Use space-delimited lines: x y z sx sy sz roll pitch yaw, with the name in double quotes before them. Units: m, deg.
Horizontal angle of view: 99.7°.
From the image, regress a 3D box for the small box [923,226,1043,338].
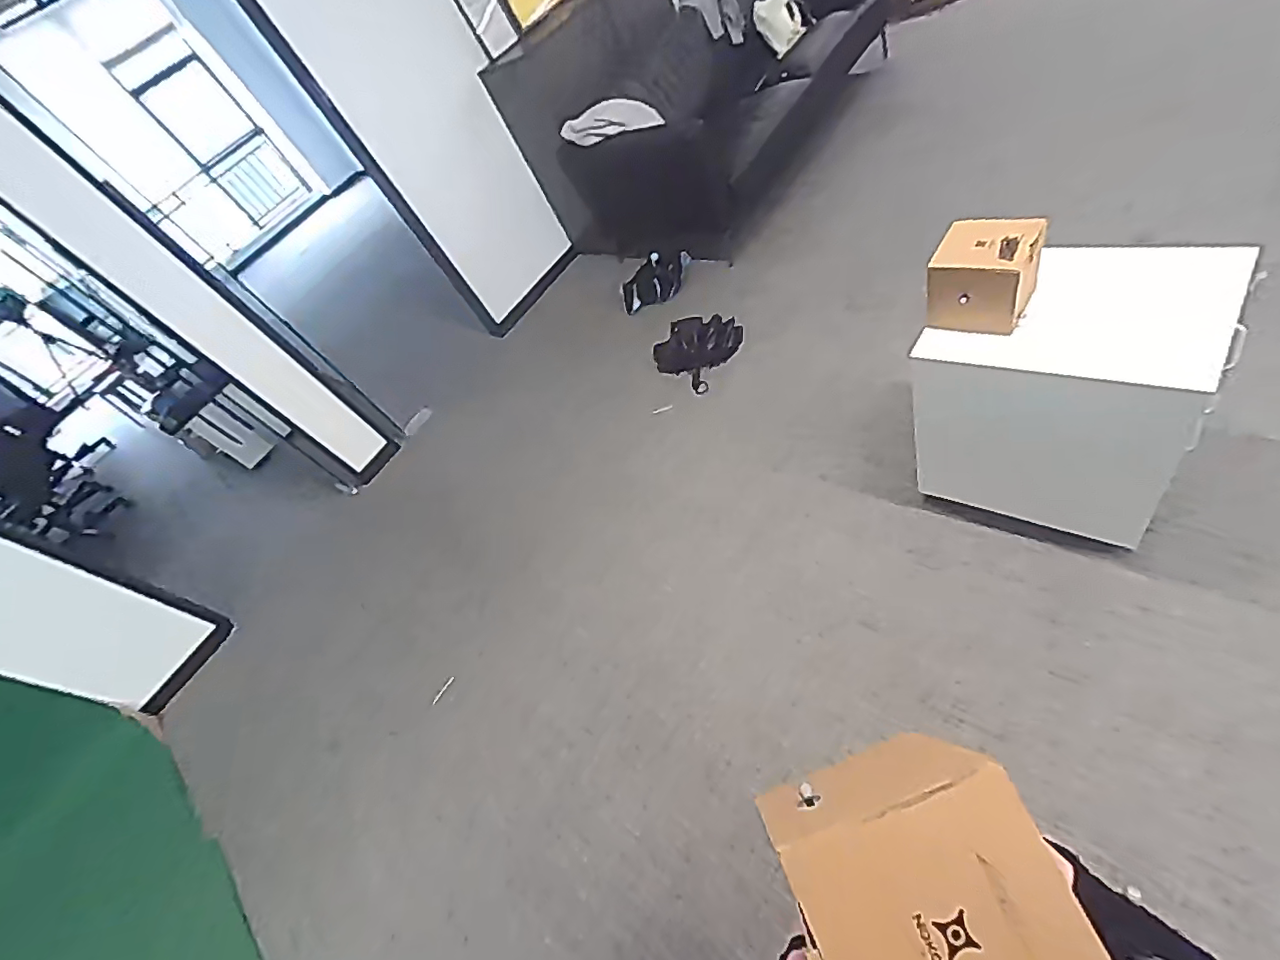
"small box" 0.749 -0.433 1.190 0.179 0.176 0.168 20 65 39
